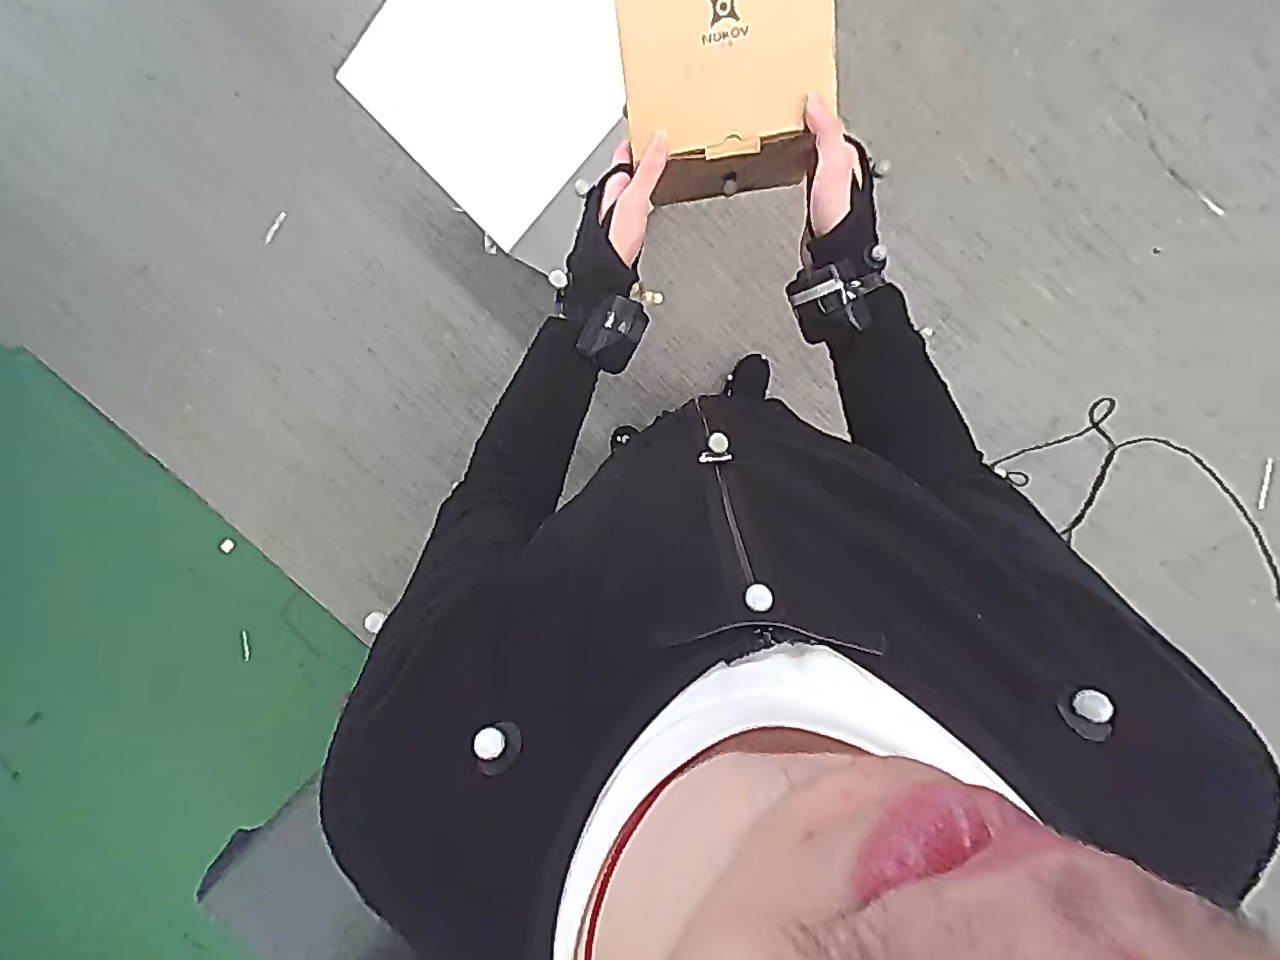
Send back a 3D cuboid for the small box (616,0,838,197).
[{"bbox_3d":[0.078,-0.379,0.498,0.168,0.176,0.179,-7,104,10],"label":"small box"}]
